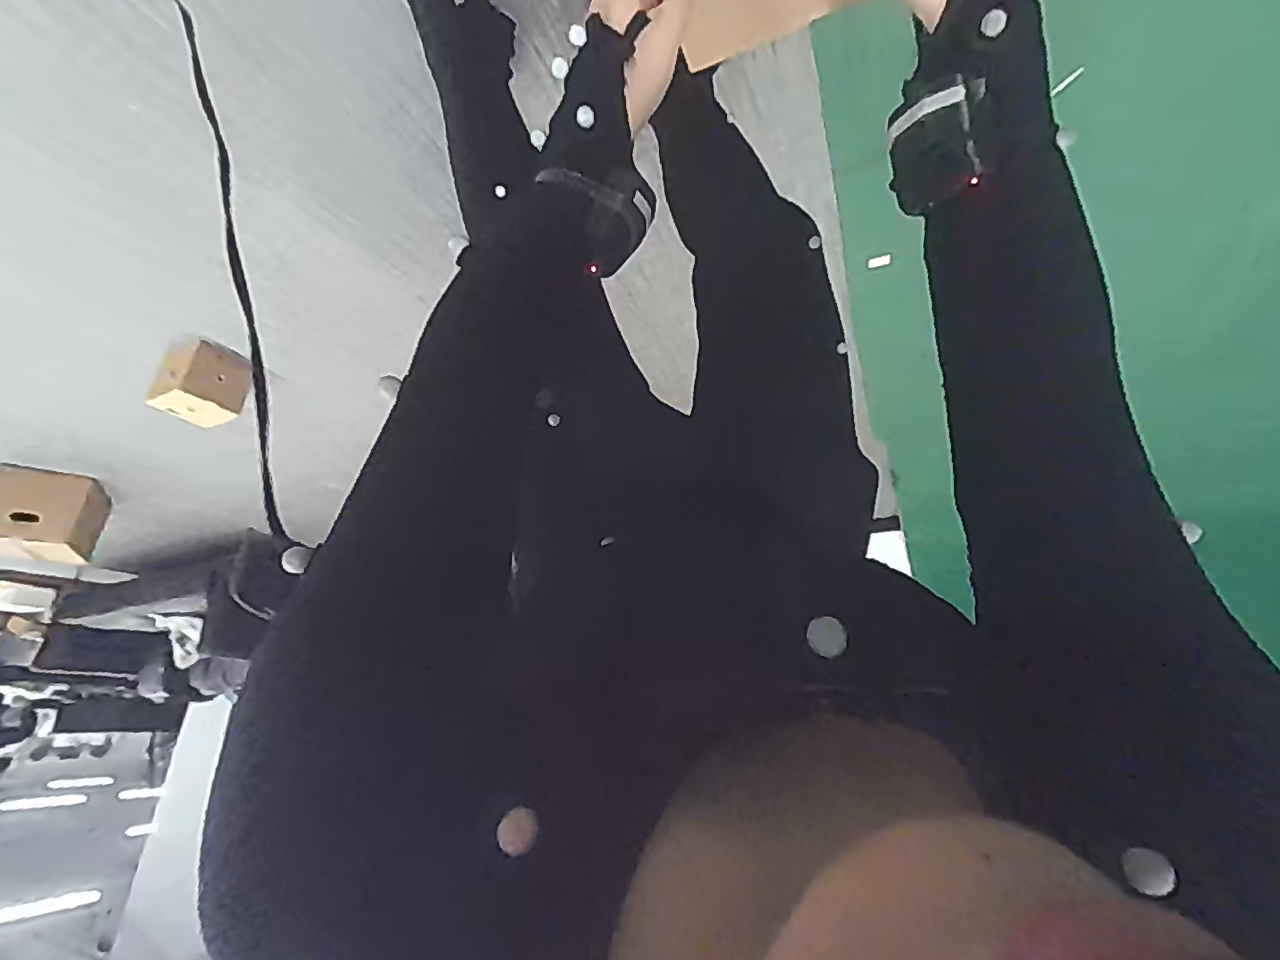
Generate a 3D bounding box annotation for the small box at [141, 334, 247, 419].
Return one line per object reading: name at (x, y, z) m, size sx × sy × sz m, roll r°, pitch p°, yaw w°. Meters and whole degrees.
small box at (-1.295, -0.302, 1.582) m, size 0.179 × 0.176 × 0.168 m, roll -10°, pitch 155°, yaw 23°
